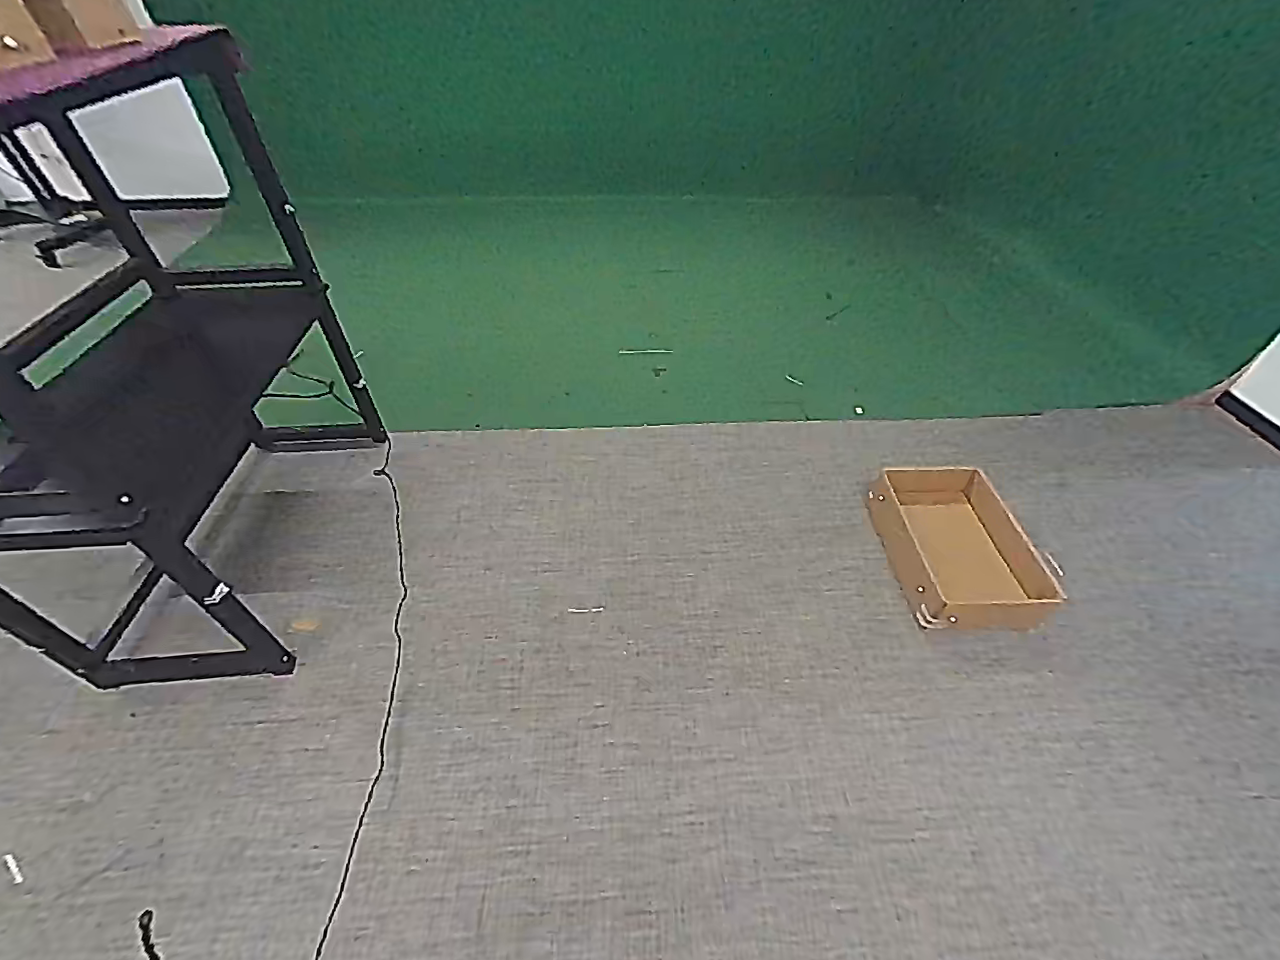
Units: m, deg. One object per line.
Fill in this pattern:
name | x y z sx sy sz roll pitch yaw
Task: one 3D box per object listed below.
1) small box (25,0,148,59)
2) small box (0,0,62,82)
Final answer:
small box | -1.293 -1.065 1.218 0.179 0.176 0.168 2 46 5
small box | -1.280 -0.856 1.011 0.179 0.176 0.168 -1 46 -1
